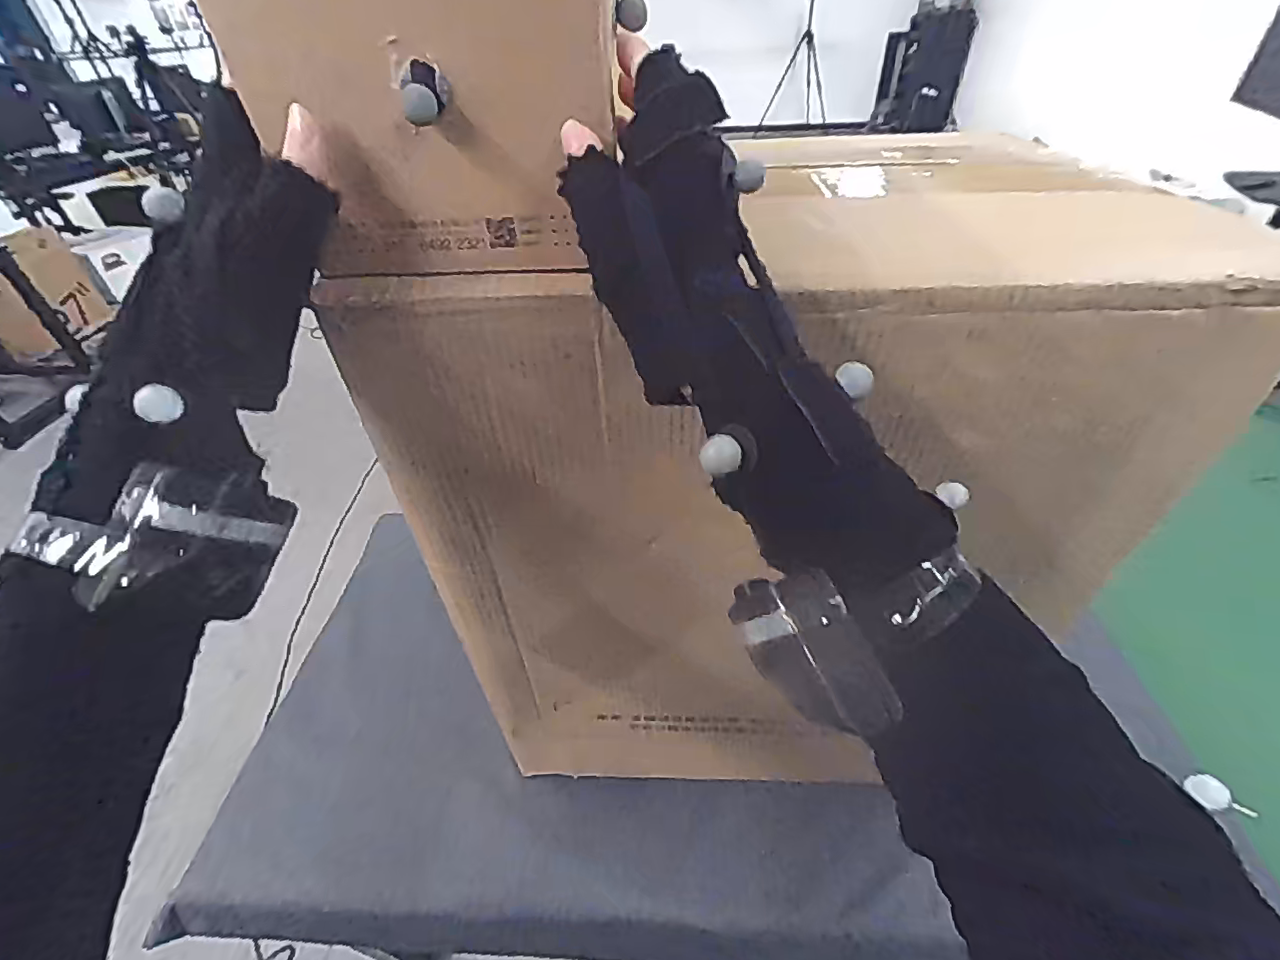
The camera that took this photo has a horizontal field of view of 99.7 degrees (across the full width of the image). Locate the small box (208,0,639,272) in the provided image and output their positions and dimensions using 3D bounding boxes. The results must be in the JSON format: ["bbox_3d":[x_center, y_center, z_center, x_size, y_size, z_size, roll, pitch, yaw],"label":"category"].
[{"bbox_3d":[-0.089,-0.226,0.294,0.168,0.176,0.179,0,44,4],"label":"small box"}]
